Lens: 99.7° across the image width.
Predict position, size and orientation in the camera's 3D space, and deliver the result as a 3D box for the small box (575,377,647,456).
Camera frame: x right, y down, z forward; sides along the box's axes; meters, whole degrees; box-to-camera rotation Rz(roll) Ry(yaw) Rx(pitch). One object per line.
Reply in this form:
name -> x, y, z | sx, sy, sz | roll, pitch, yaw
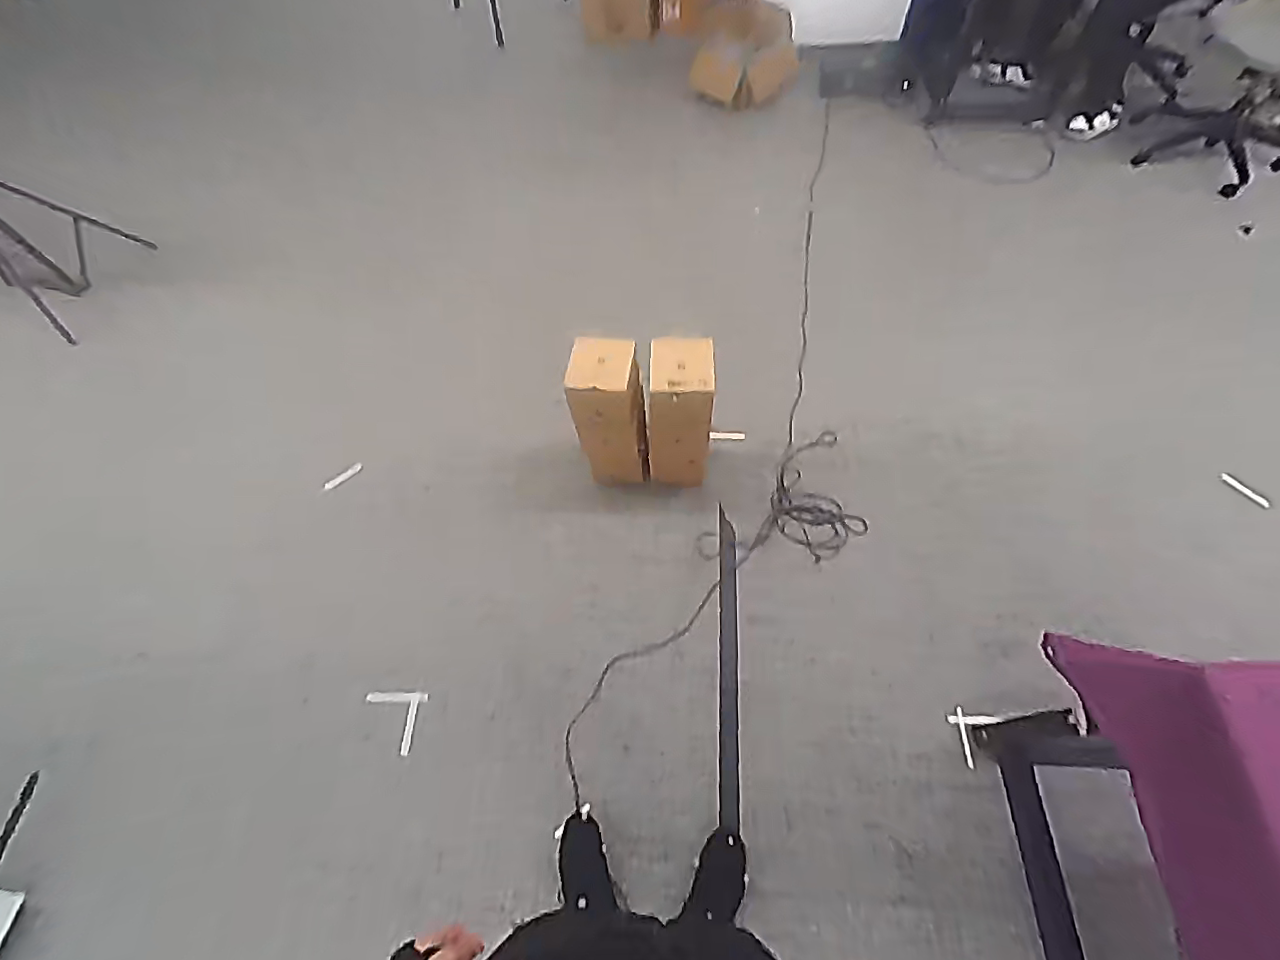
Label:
small box -> -0.077, -0.184, 1.602 | 0.179, 0.176, 0.168 | 4, 61, 9
